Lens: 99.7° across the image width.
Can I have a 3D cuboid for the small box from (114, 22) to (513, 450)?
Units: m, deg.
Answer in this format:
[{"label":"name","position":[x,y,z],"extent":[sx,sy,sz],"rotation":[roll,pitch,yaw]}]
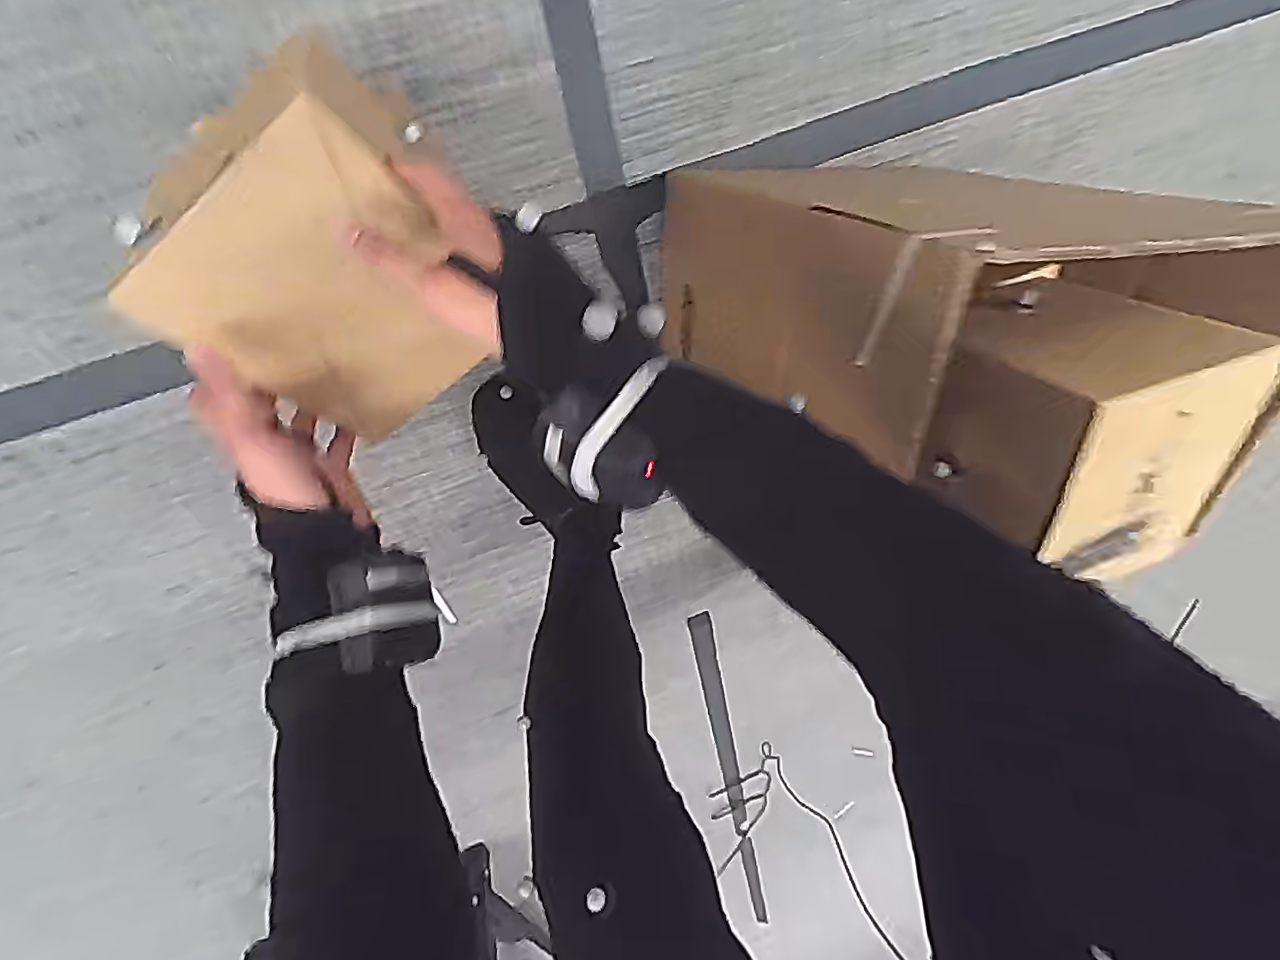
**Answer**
[{"label":"small box","position":[-0.215,-0.154,0.377],"extent":[0.168,0.176,0.179],"rotation":[-36,144,11]}]
